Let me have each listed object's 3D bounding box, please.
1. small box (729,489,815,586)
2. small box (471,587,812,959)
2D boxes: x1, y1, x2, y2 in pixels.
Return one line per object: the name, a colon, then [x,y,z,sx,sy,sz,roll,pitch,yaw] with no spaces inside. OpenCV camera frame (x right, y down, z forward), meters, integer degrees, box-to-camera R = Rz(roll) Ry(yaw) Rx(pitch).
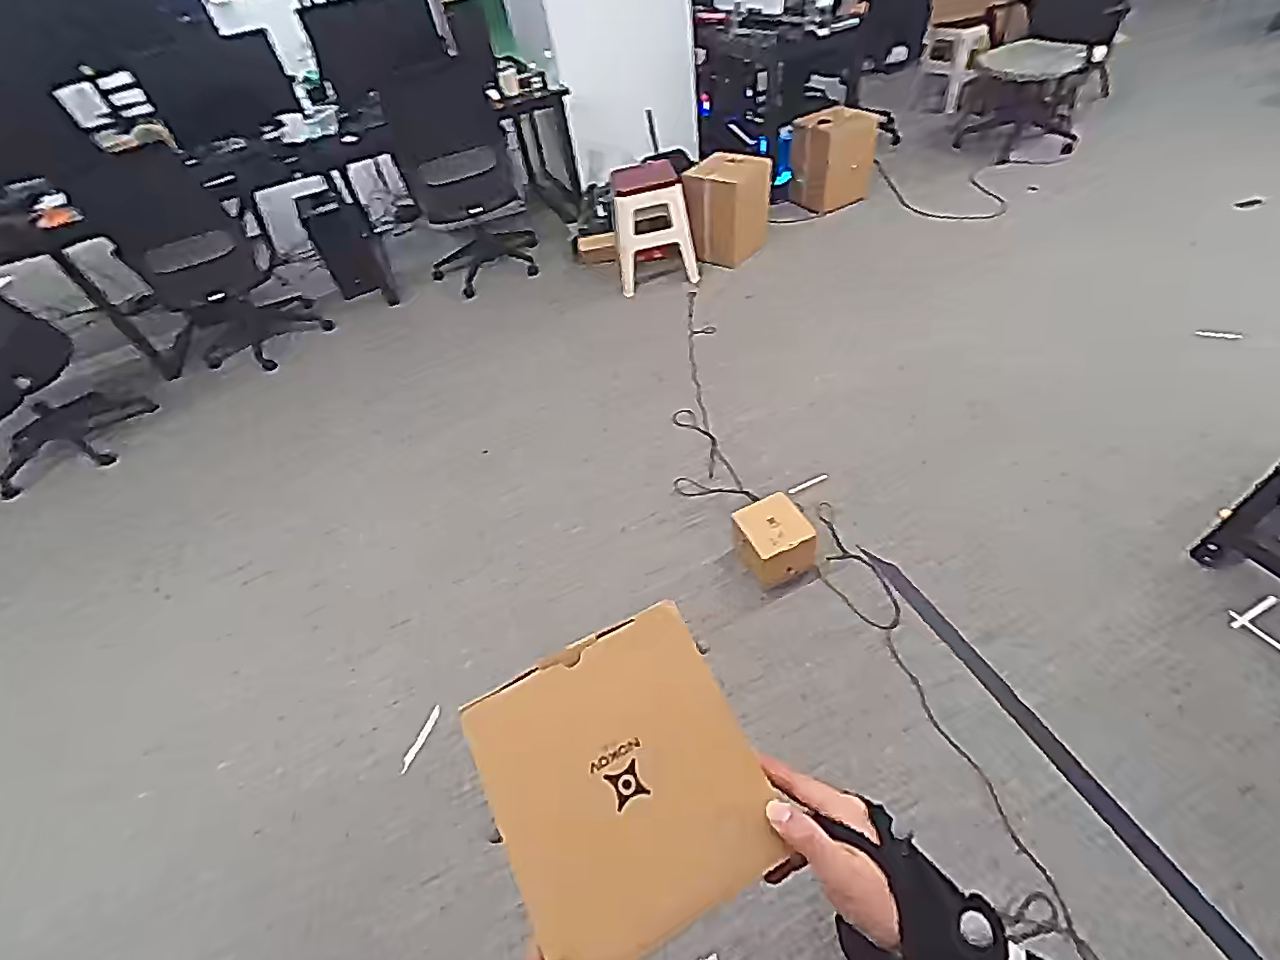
small box: [0.365,0.162,1.513,0.168,0.176,0.179,-24,49,-7]
small box: [-0.004,0.209,0.417,0.168,0.176,0.179,-25,69,-11]
